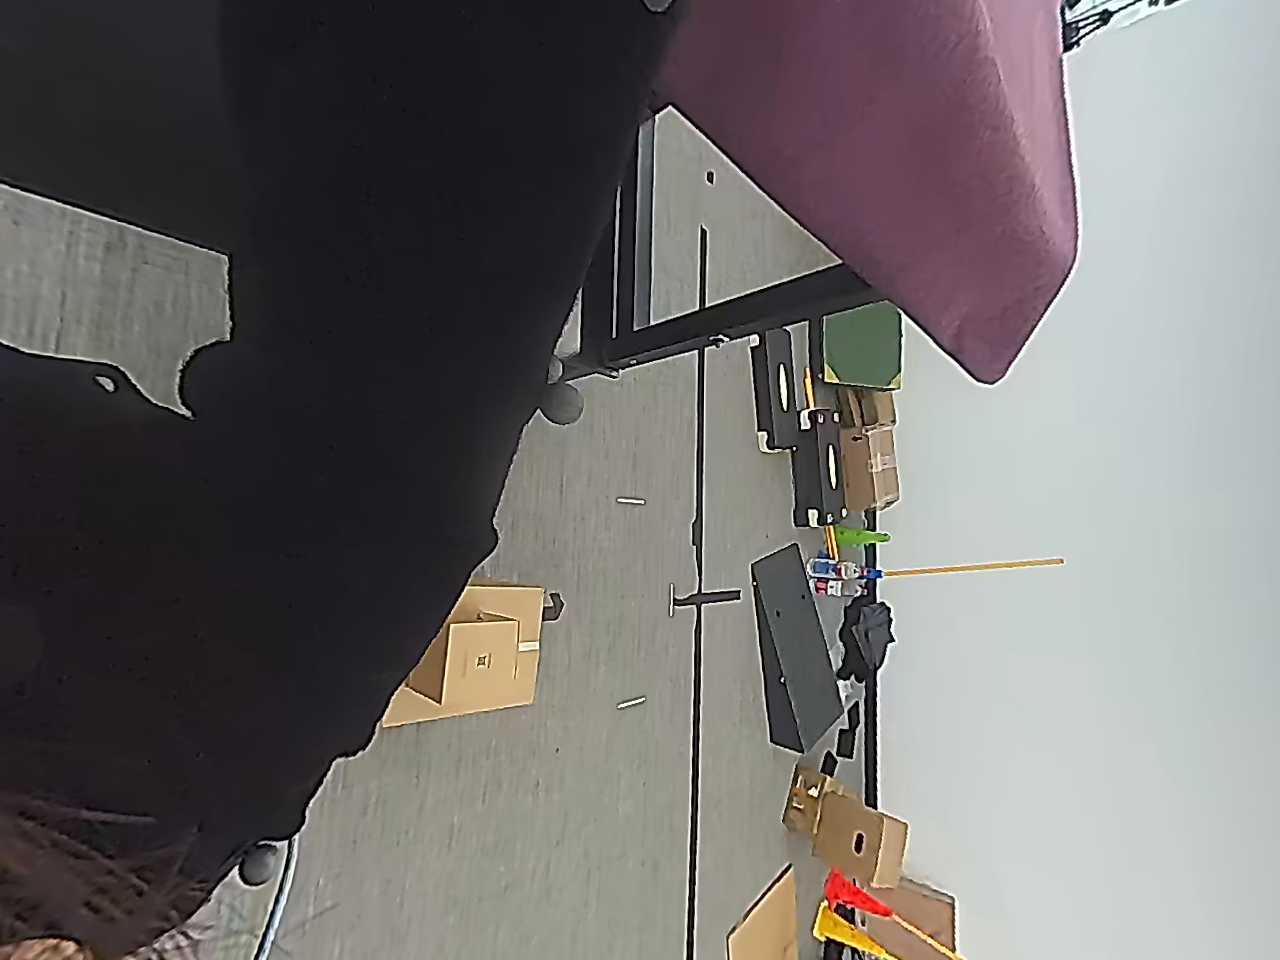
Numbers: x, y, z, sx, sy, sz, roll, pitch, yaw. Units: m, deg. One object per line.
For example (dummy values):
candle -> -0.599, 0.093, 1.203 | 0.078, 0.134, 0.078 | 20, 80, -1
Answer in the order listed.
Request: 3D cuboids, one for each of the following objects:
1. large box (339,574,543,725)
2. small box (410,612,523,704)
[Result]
large box -> -0.522, 0.416, 1.436 | 0.408, 0.320, 0.320 | 12, 80, -46
small box -> -0.390, 0.390, 1.220 | 0.179, 0.176, 0.168 | 12, 78, -45
